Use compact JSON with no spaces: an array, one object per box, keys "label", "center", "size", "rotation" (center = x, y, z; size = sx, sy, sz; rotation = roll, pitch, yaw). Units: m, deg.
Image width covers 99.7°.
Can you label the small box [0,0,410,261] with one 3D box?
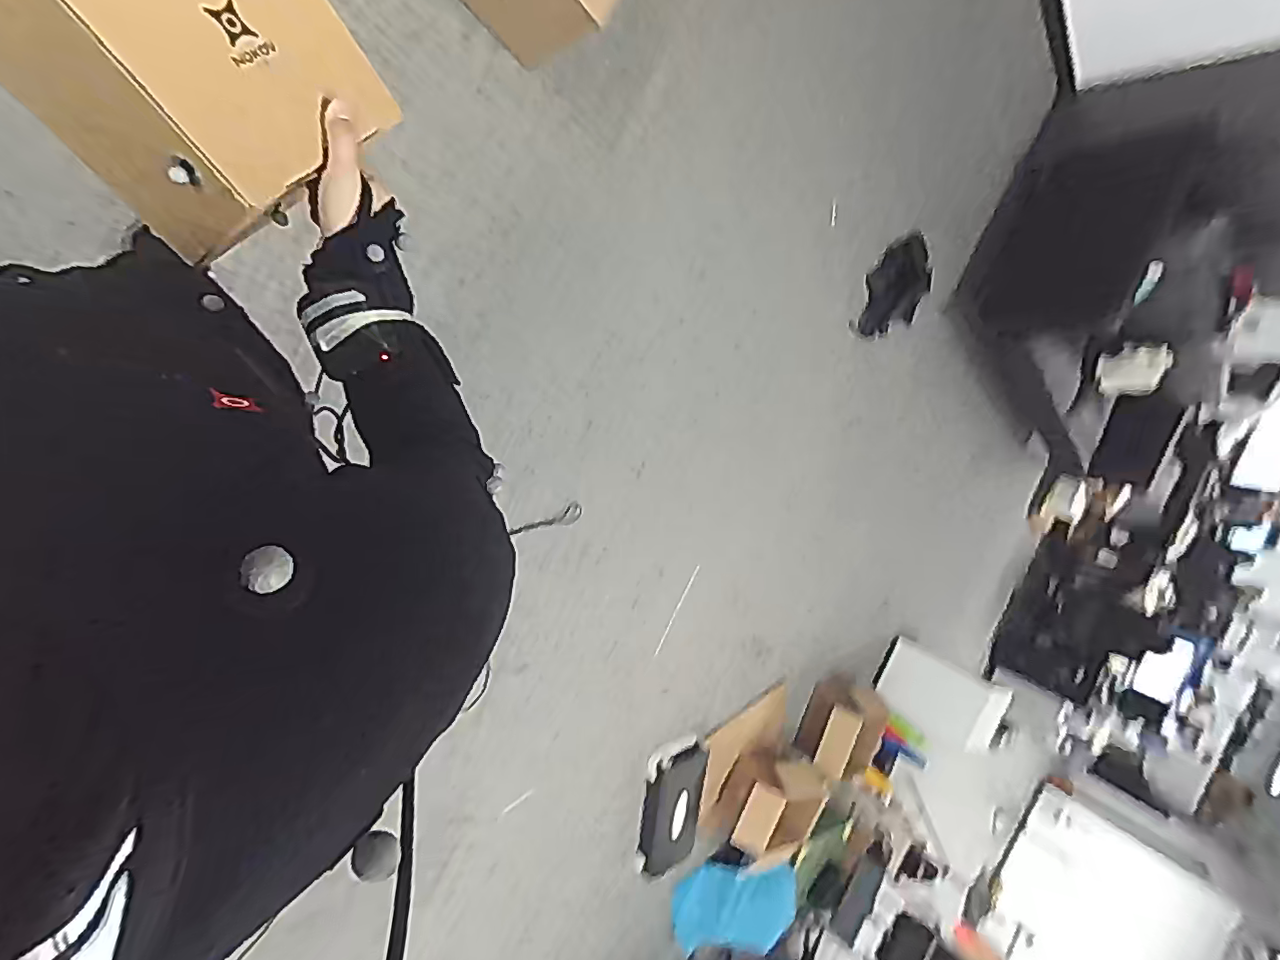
[{"label":"small box","center":[-0.334,-0.306,0.427],"size":[0.179,0.176,0.168],"rotation":[57,49,-35]}]

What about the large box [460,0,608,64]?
[{"label":"large box","center":[-0.242,-1.101,0.996],"size":[0.408,0.320,0.320],"rotation":[26,91,-43]}]
